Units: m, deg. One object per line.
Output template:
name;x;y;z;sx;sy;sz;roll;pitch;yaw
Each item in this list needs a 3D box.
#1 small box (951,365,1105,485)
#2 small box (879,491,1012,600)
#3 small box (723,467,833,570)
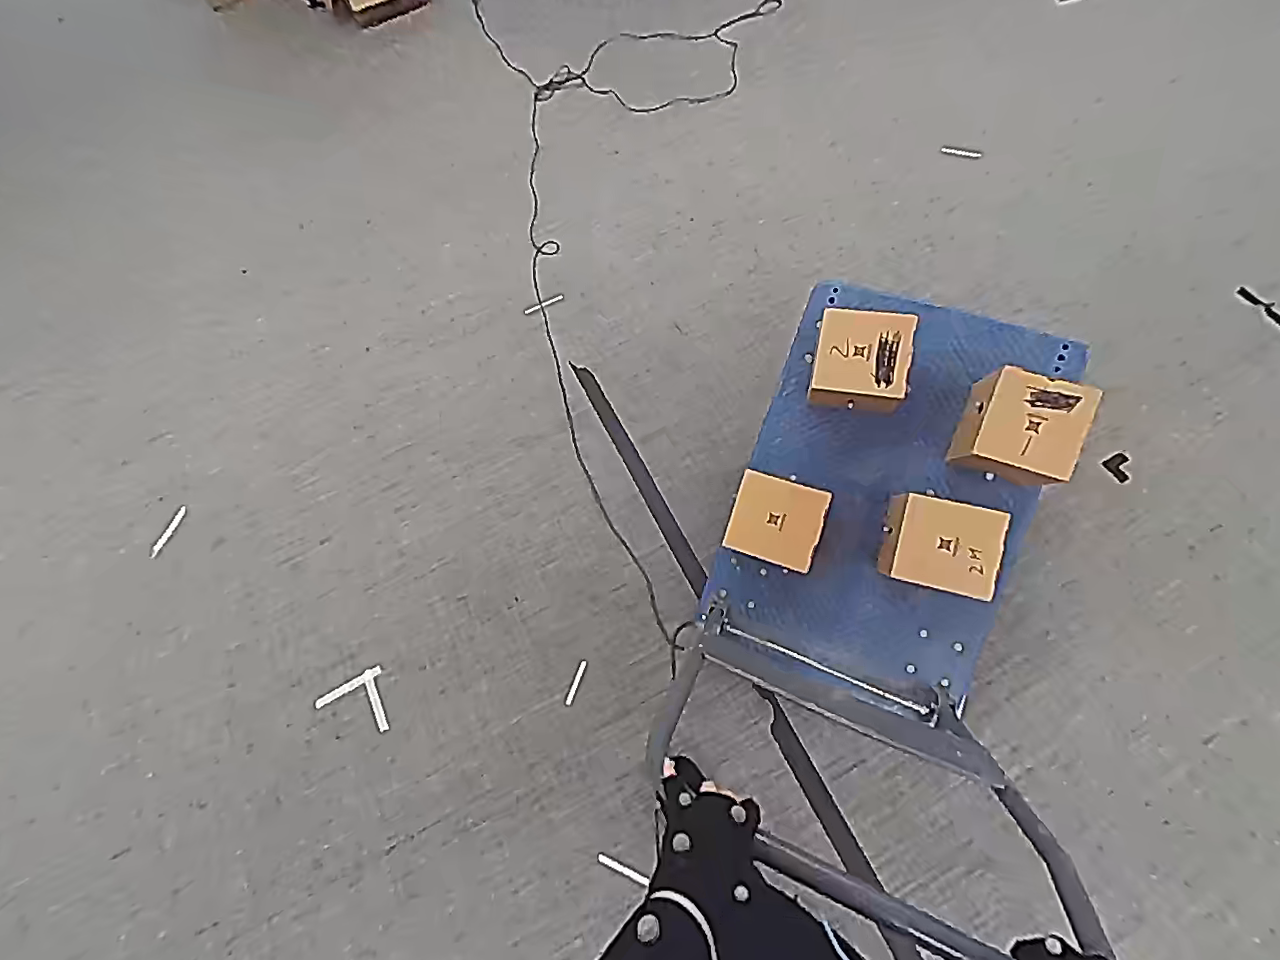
small box;0.735;-0.099;1.049;0.168;0.176;0.179;20;92;15
small box;0.589;0.126;1.068;0.179;0.176;0.168;14;89;15
small box;0.289;0.082;1.148;0.179;0.176;0.168;18;90;13
